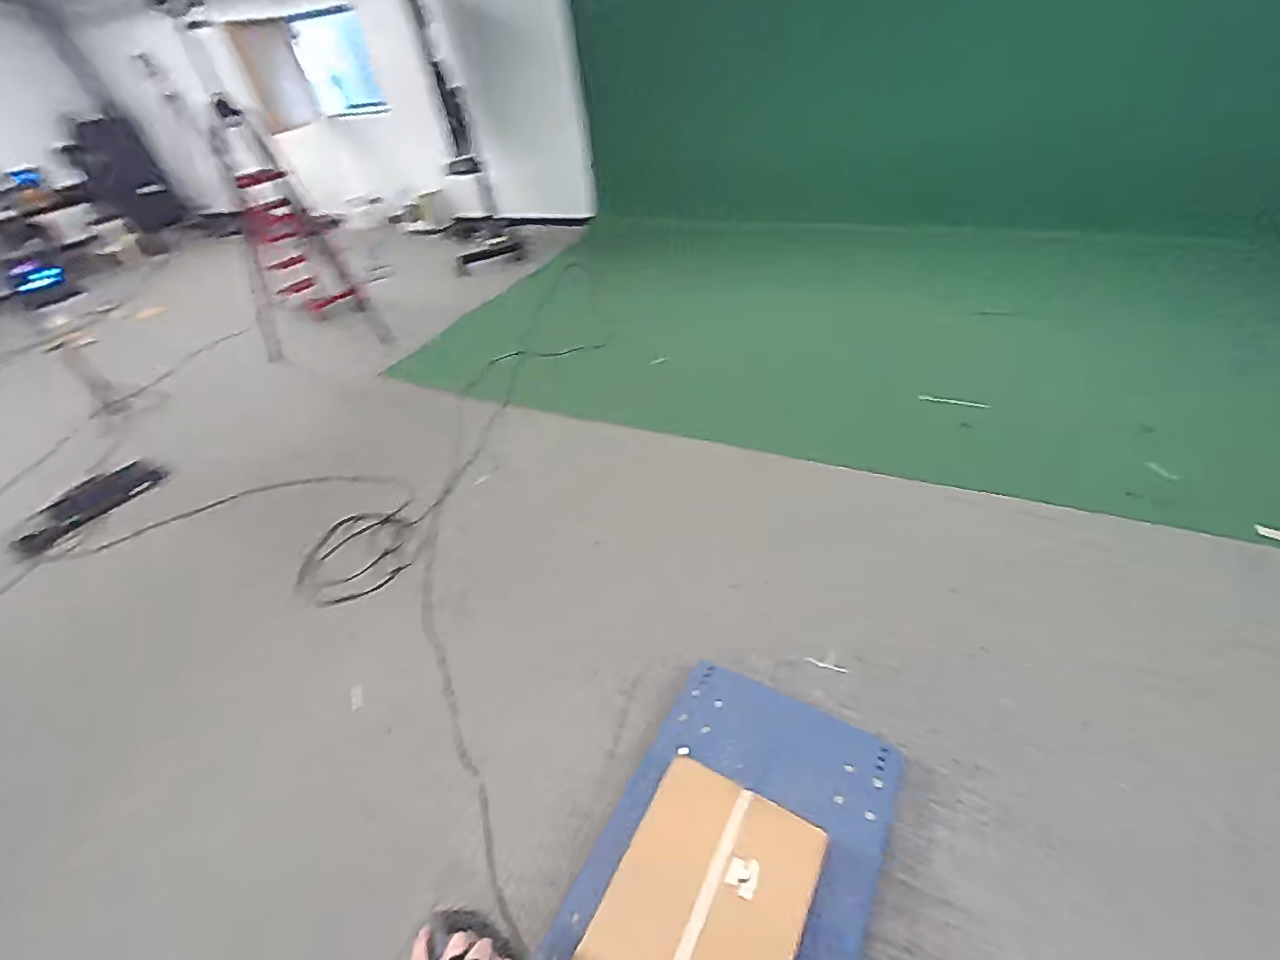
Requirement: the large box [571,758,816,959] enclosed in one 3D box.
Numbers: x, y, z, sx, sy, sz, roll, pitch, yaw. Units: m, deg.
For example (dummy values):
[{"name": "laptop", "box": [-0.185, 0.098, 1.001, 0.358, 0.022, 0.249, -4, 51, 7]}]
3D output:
[{"name": "large box", "box": [0.117, 0.851, 1.036, 0.320, 0.320, 0.408, 17, 46, 26]}]
